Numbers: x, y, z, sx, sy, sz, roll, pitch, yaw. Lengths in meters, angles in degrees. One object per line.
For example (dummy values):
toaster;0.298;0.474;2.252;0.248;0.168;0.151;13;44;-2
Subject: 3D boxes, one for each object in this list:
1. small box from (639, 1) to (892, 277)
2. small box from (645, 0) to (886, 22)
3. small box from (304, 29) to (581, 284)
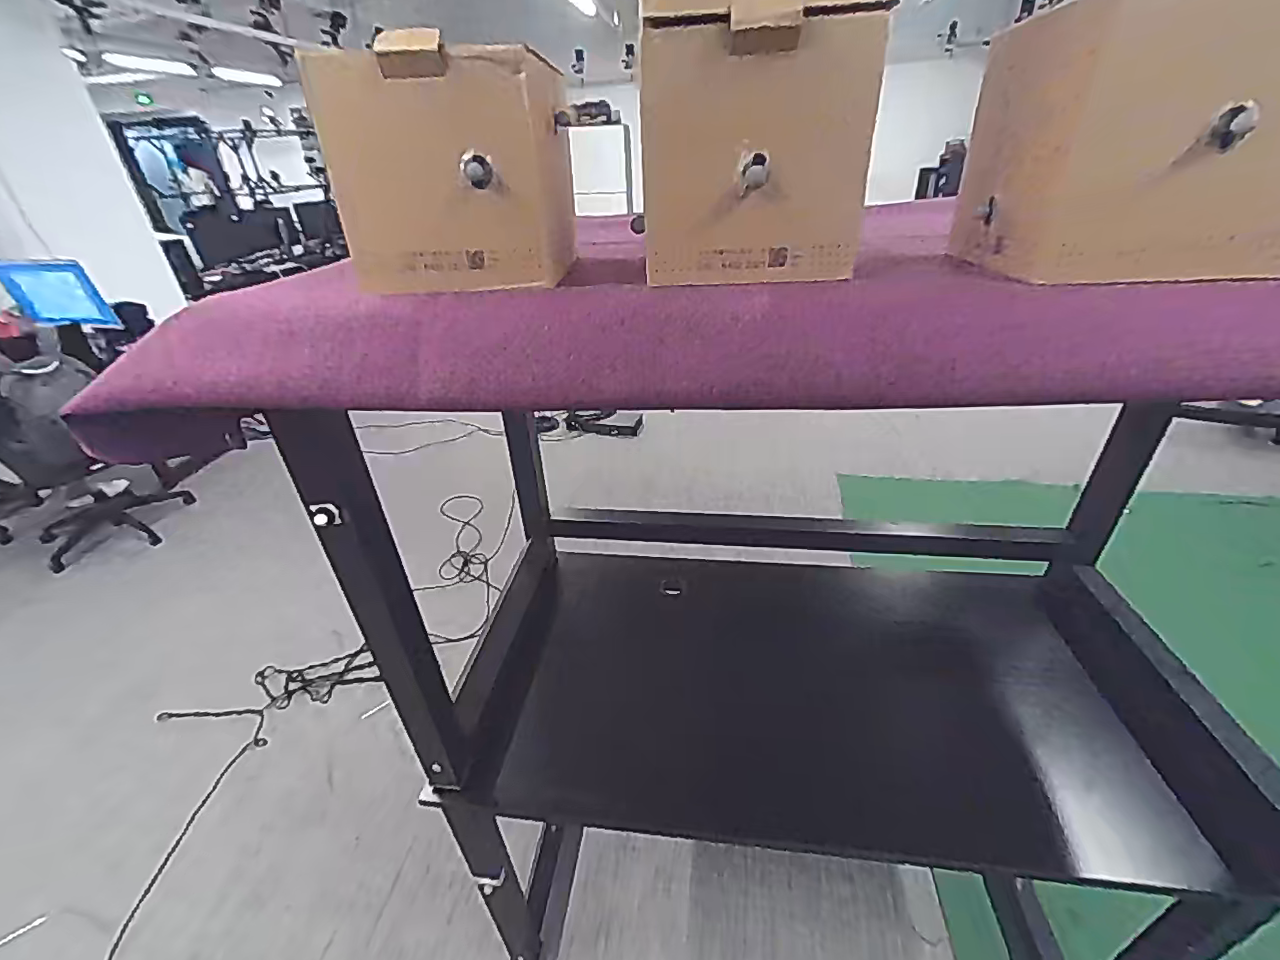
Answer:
small box;0.091;-0.273;0.460;0.168;0.176;0.179;0;31;5
small box;0.085;-0.412;0.374;0.168;0.176;0.179;-1;29;3
small box;-0.148;-0.276;0.485;0.168;0.176;0.179;0;30;3
